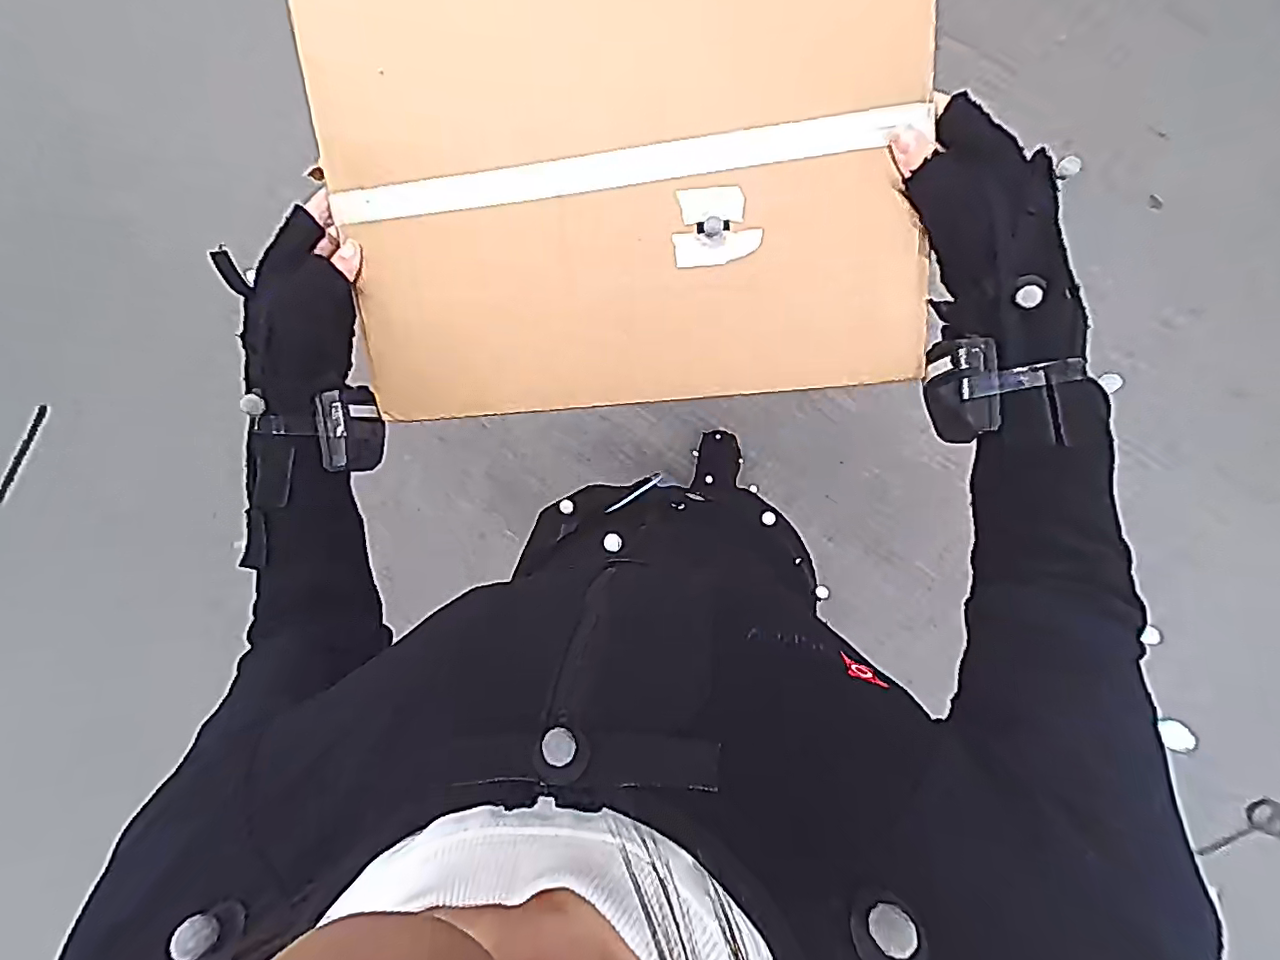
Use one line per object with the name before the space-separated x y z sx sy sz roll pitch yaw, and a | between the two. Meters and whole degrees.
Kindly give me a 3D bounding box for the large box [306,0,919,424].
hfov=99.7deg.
large box | -0.002 -0.248 0.519 0.408 0.320 0.320 -5 105 7
